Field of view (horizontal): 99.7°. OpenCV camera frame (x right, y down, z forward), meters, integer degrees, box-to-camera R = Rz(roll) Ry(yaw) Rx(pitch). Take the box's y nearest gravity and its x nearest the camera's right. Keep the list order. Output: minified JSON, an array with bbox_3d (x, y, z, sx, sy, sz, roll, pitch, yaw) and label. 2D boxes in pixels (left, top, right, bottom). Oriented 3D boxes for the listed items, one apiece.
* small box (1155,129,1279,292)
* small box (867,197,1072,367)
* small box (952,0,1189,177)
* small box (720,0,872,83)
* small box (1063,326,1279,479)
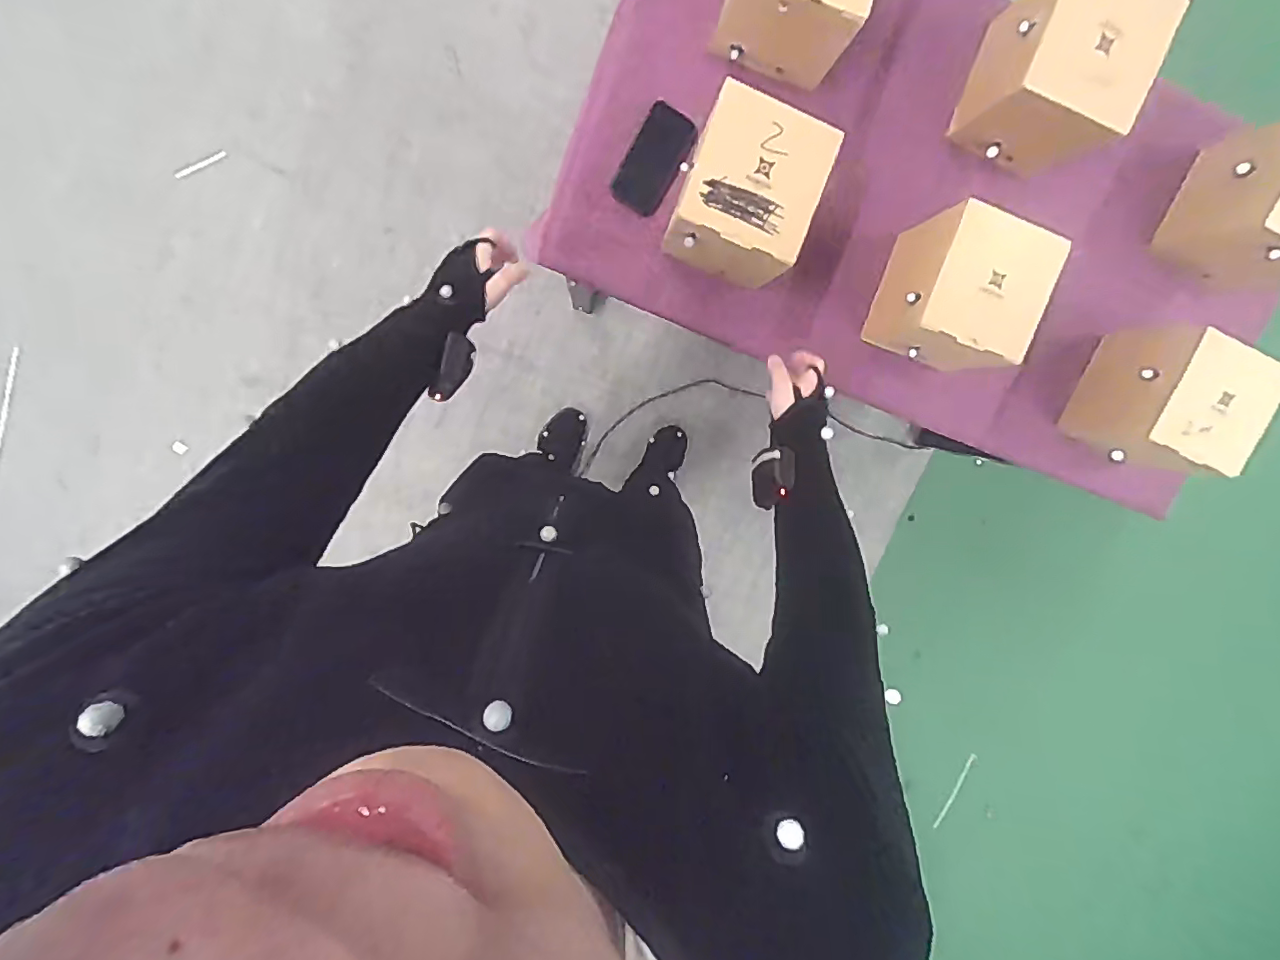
[{"bbox_3d":[0.961,-0.413,0.825,0.168,0.176,0.179,23,97,-8],"label":"small box"},{"bbox_3d":[0.473,-0.279,0.807,0.168,0.176,0.179,18,98,-8],"label":"small box"},{"bbox_3d":[0.587,-0.572,0.765,0.168,0.176,0.179,20,99,-7],"label":"small box"},{"bbox_3d":[0.216,-0.676,0.711,0.168,0.176,0.179,16,98,-8],"label":"small box"},{"bbox_3d":[0.838,-0.123,0.862,0.168,0.176,0.179,23,97,-7],"label":"small box"}]
